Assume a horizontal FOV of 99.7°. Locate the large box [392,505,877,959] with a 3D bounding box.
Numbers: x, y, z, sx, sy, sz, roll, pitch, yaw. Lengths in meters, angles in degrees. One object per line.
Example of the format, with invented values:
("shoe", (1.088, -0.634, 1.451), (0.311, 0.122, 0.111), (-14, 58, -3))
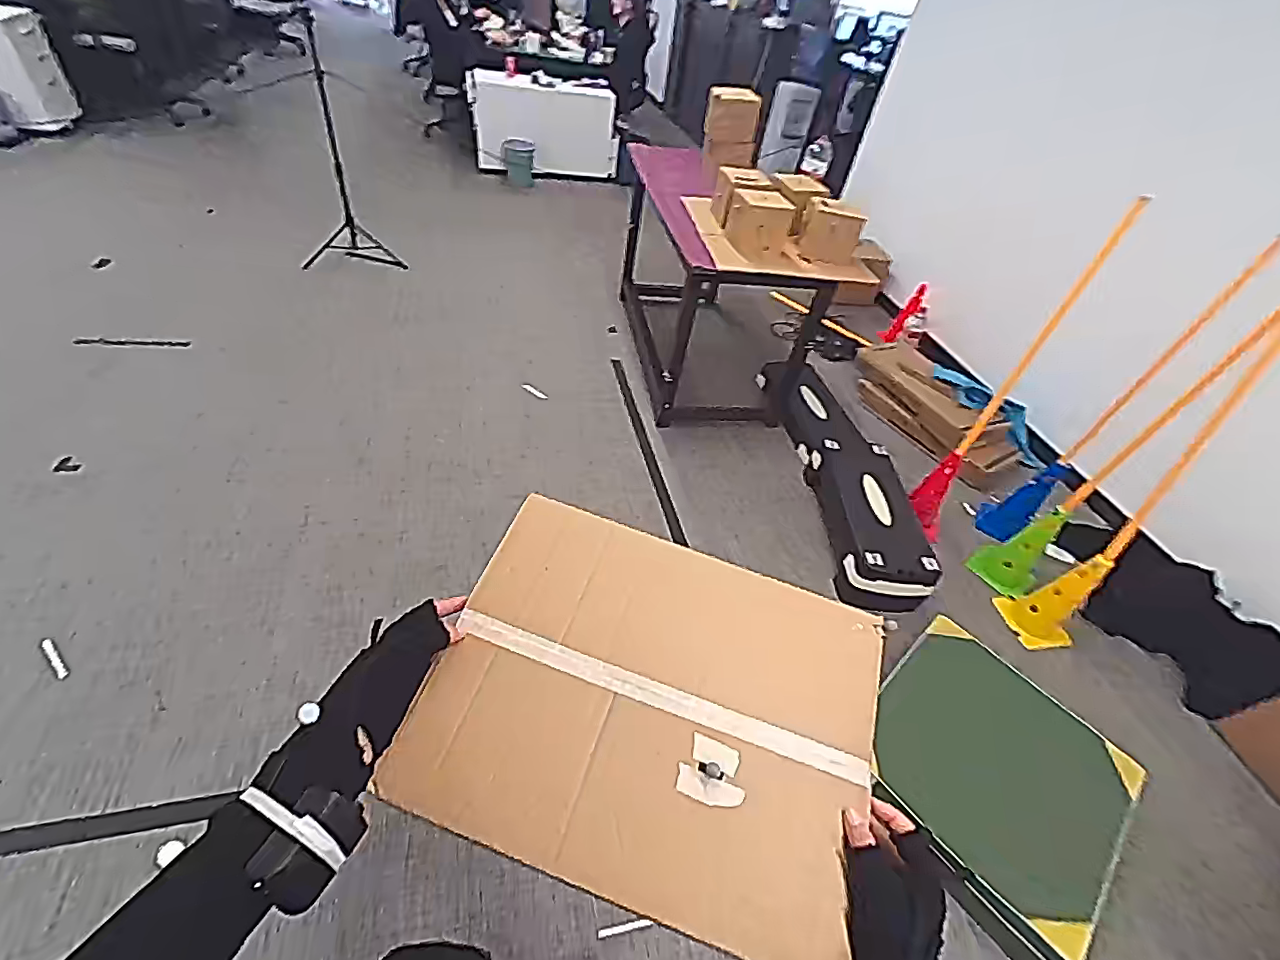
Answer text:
("large box", (0.005, 0.287, 0.641), (0.408, 0.320, 0.320), (20, 58, 6))
